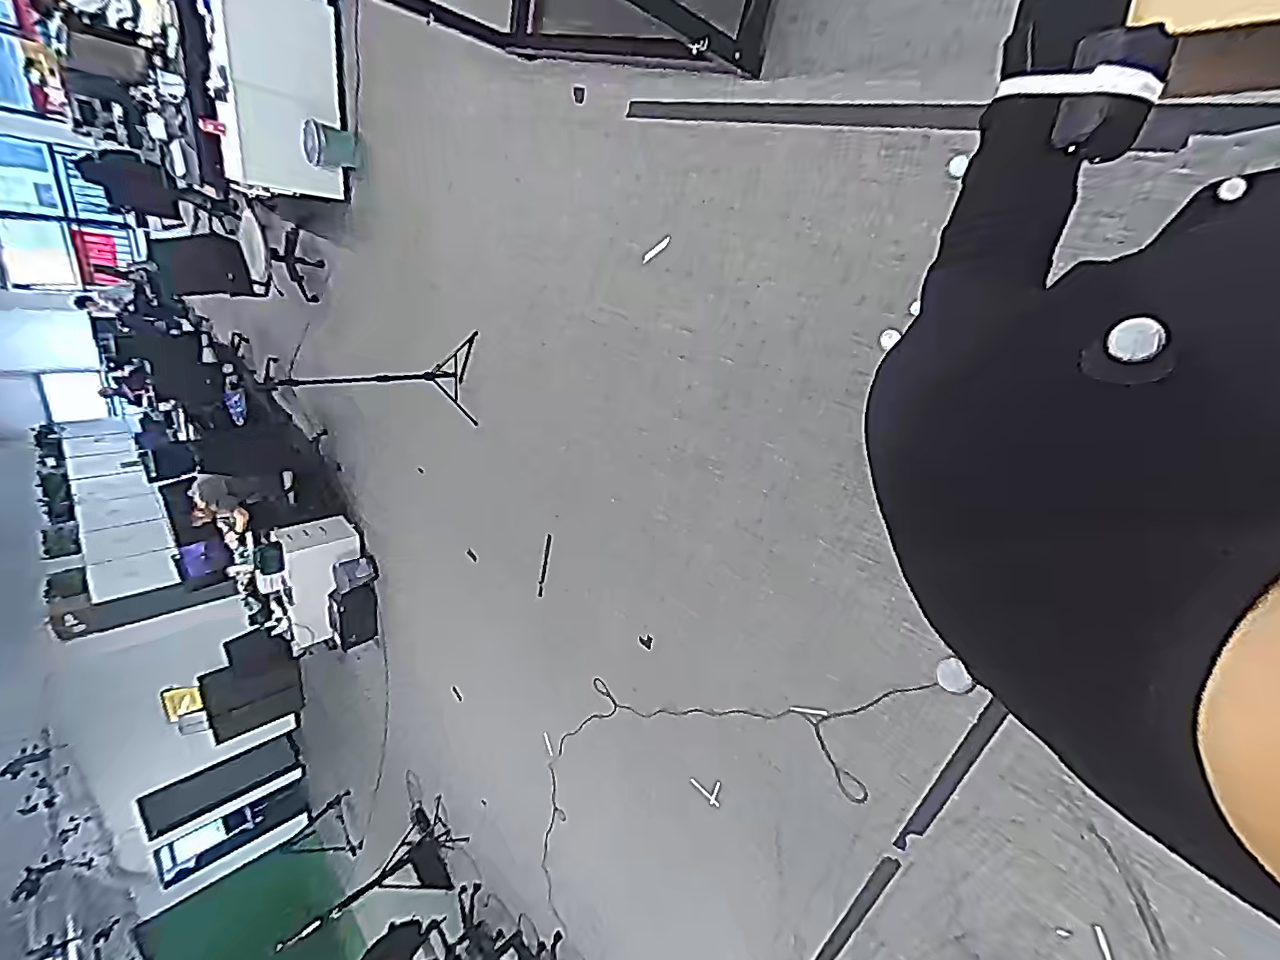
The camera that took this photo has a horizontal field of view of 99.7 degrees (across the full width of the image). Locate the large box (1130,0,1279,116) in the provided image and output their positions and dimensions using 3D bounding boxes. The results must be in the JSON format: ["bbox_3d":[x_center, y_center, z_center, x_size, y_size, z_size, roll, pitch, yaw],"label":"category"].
[{"bbox_3d":[0.557,-0.405,0.269,0.408,0.320,0.320,21,124,36],"label":"large box"}]
